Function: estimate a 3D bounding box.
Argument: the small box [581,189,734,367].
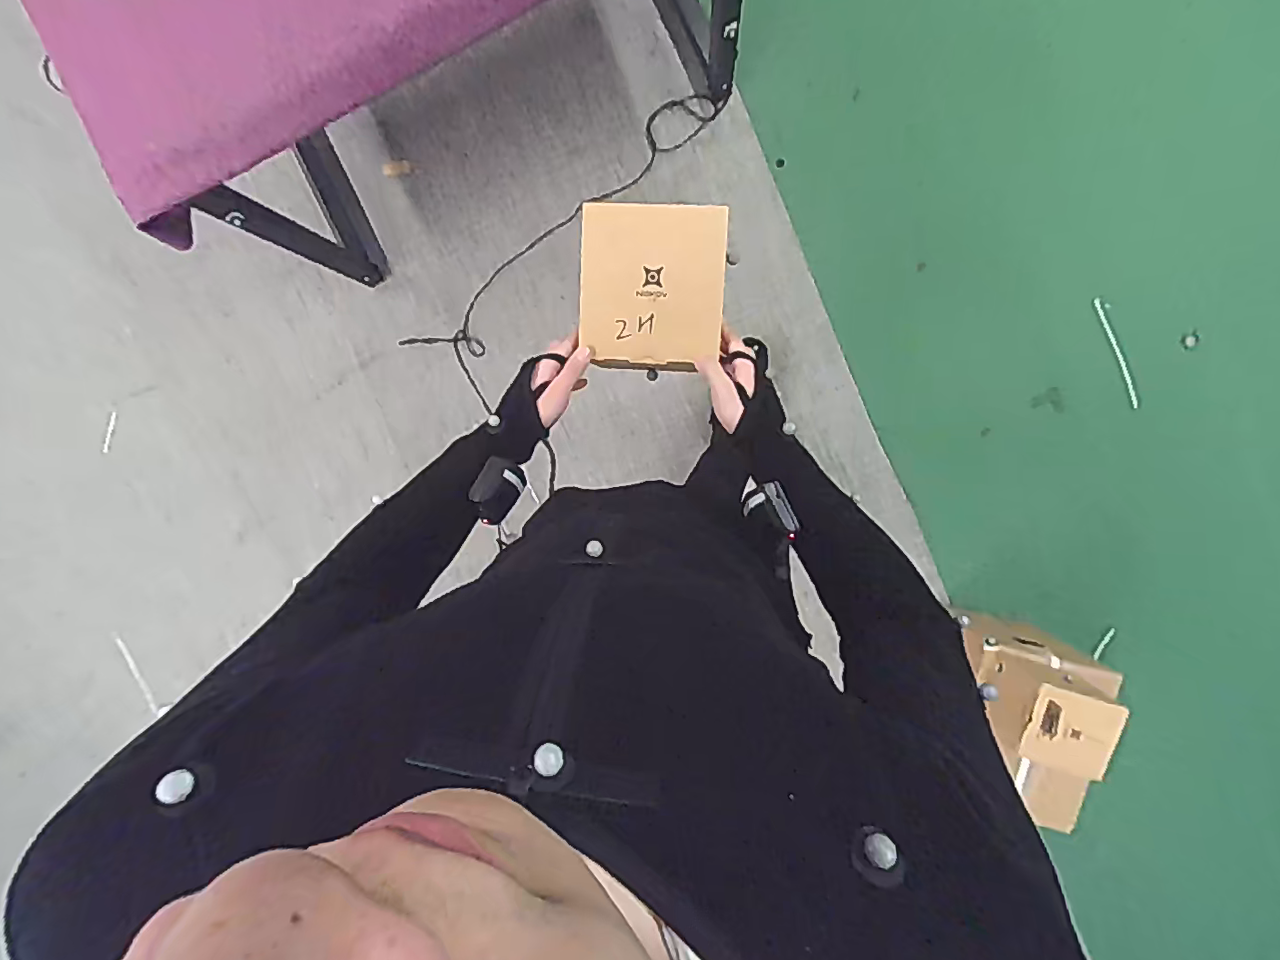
[{"bbox_3d":[0.022,-0.243,0.686,0.168,0.176,0.179,4,99,4],"label":"small box"}]

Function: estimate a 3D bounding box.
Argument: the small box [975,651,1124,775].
[{"bbox_3d":[0.879,0.496,1.183,0.179,0.176,0.168,16,97,3],"label":"small box"}]
